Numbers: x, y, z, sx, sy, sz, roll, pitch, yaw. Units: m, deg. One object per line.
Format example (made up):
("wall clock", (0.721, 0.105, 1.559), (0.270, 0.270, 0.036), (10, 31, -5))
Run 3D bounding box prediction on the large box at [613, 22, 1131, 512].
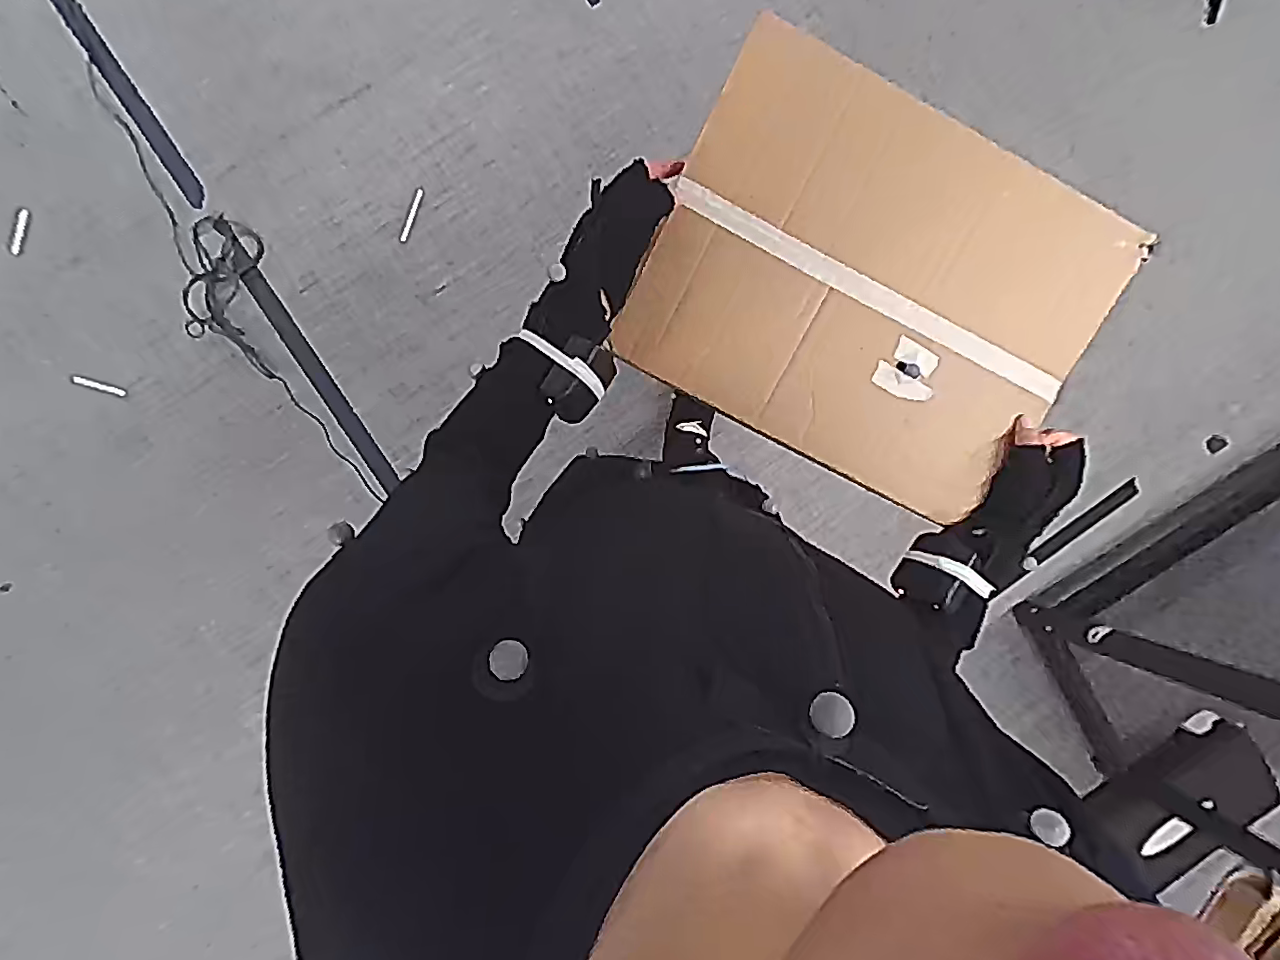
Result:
("large box", (0.214, -0.213, 0.658), (0.408, 0.320, 0.320), (27, 101, -5))
